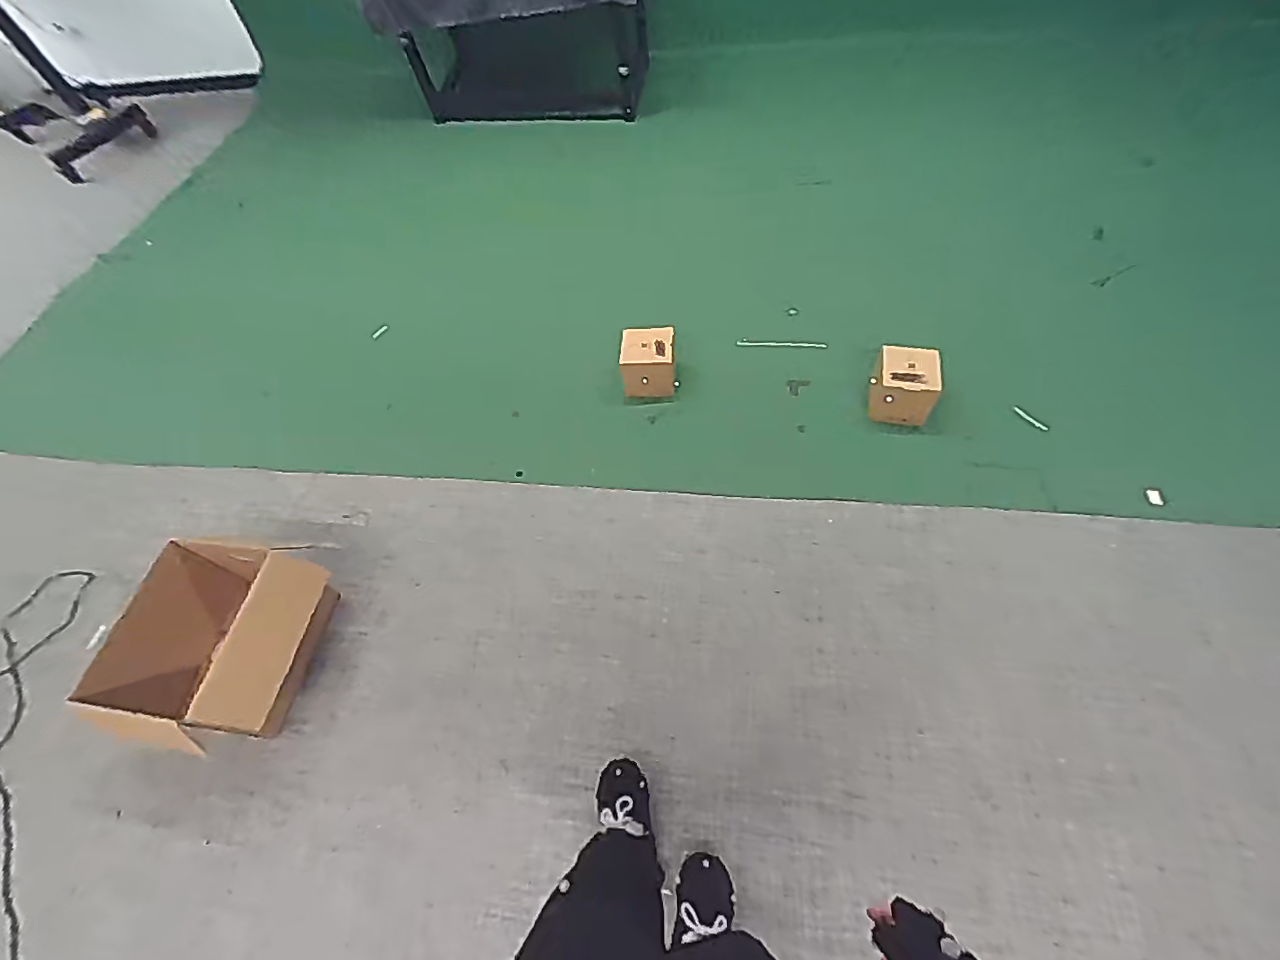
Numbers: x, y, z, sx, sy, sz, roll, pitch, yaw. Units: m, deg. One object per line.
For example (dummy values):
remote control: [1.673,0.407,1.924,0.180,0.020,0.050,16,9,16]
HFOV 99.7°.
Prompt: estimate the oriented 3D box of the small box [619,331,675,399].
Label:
small box: [0.030,-0.394,1.872,0.179,0.176,0.168,0,57,8]
